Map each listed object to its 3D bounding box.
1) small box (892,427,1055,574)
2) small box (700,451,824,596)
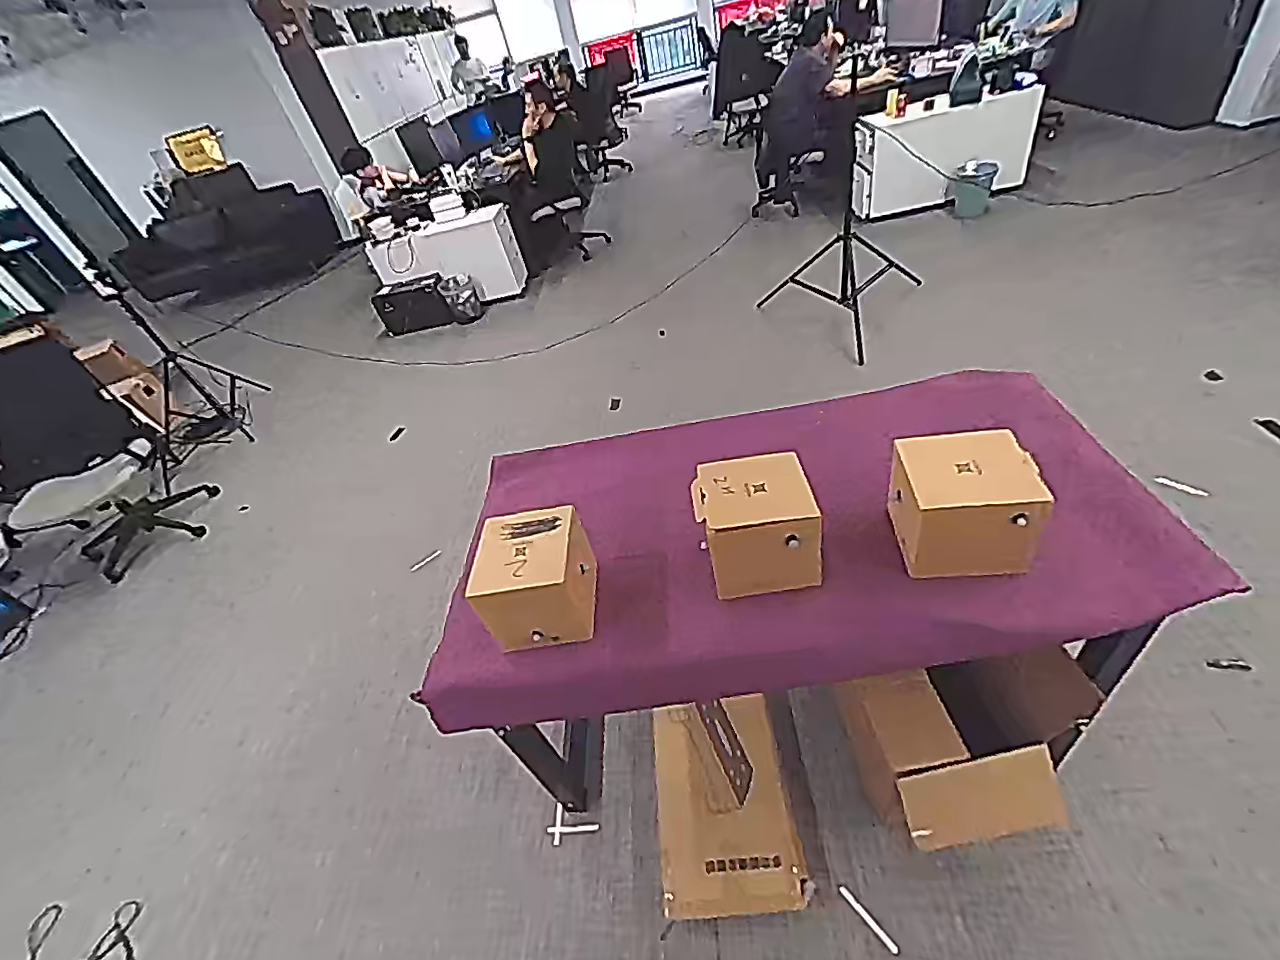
[{"bbox_3d":[0.518,0.037,0.873,0.179,0.176,0.168,-5,42,12],"label":"small box"},{"bbox_3d":[0.206,0.076,0.929,0.179,0.176,0.168,-10,38,7],"label":"small box"}]
